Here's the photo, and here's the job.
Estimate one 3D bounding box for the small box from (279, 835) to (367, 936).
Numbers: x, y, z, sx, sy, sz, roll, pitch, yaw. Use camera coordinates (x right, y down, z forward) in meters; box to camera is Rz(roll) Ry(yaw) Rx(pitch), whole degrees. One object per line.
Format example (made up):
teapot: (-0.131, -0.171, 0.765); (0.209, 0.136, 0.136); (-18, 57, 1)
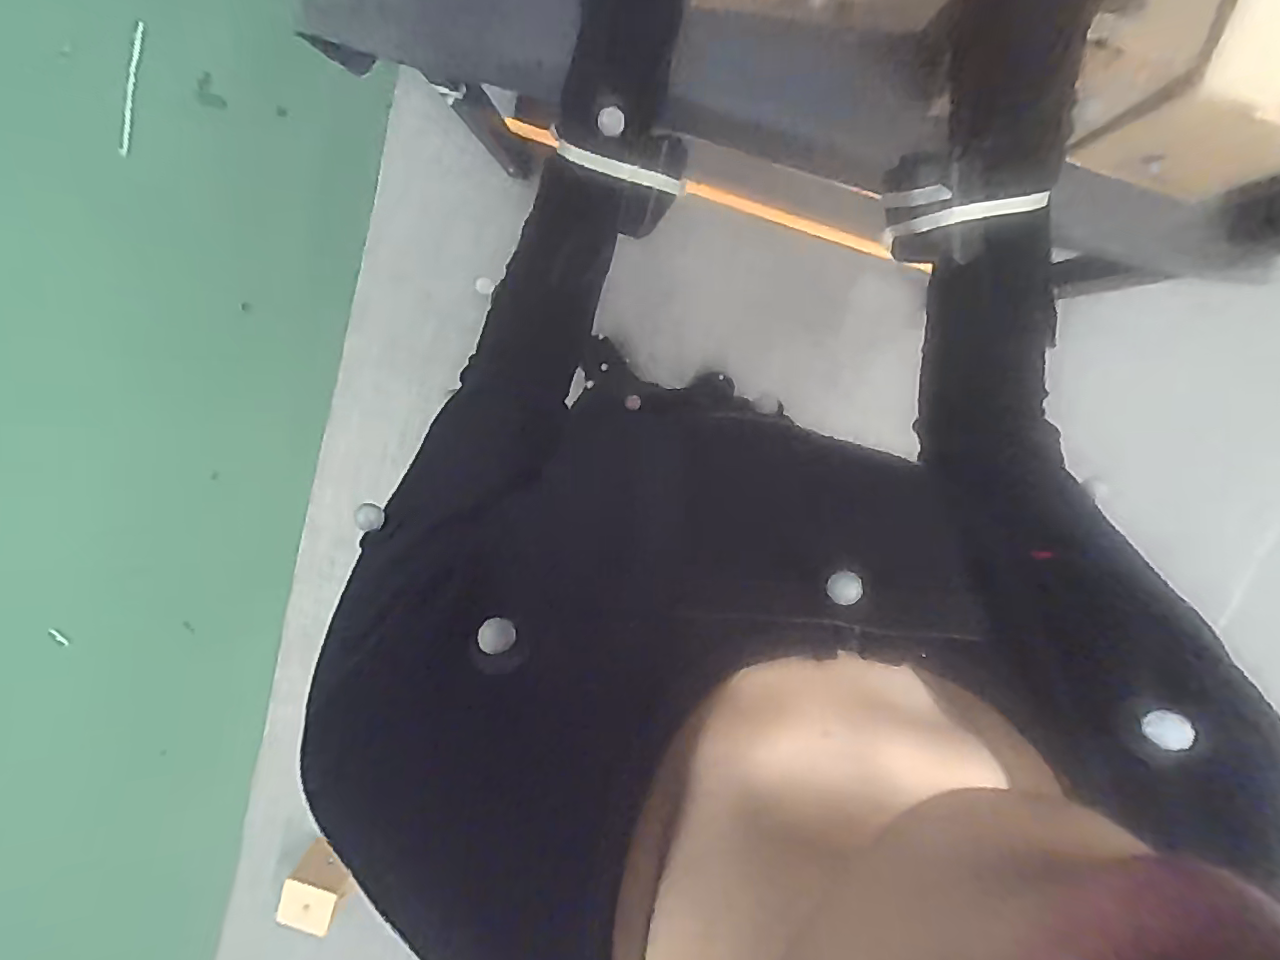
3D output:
small box: (-1.006, 1.290, 1.731); (0.168, 0.176, 0.179); (20, 102, 1)
